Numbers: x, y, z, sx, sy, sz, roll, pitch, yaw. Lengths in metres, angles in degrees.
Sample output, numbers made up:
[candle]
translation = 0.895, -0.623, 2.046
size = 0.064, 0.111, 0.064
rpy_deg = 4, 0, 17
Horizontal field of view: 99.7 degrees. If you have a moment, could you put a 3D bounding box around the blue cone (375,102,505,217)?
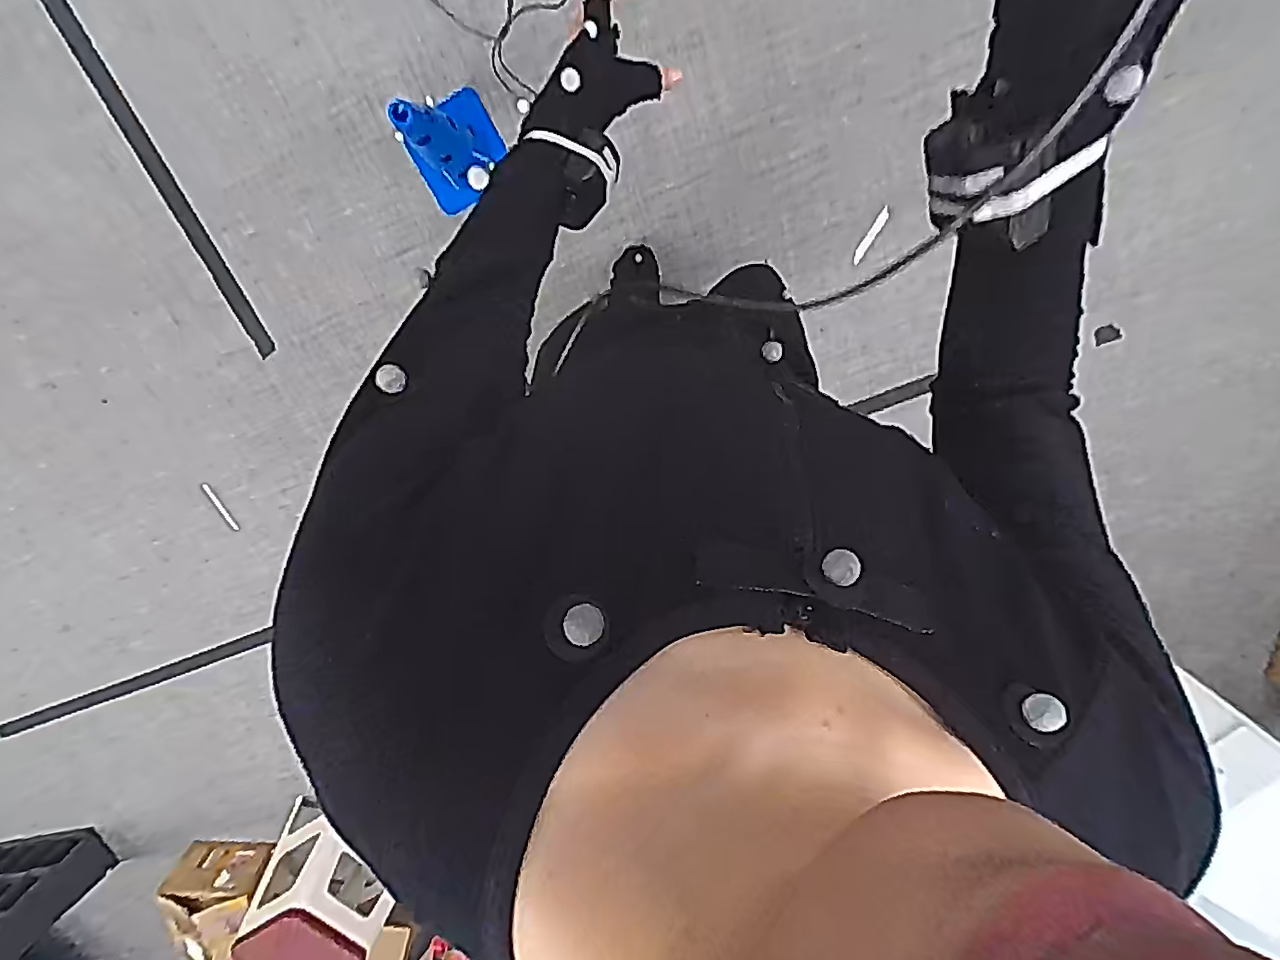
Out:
[blue cone]
translation = -0.416, -0.658, 1.063
size = 0.192, 0.380, 0.193
rpy_deg = -25, 110, 9
